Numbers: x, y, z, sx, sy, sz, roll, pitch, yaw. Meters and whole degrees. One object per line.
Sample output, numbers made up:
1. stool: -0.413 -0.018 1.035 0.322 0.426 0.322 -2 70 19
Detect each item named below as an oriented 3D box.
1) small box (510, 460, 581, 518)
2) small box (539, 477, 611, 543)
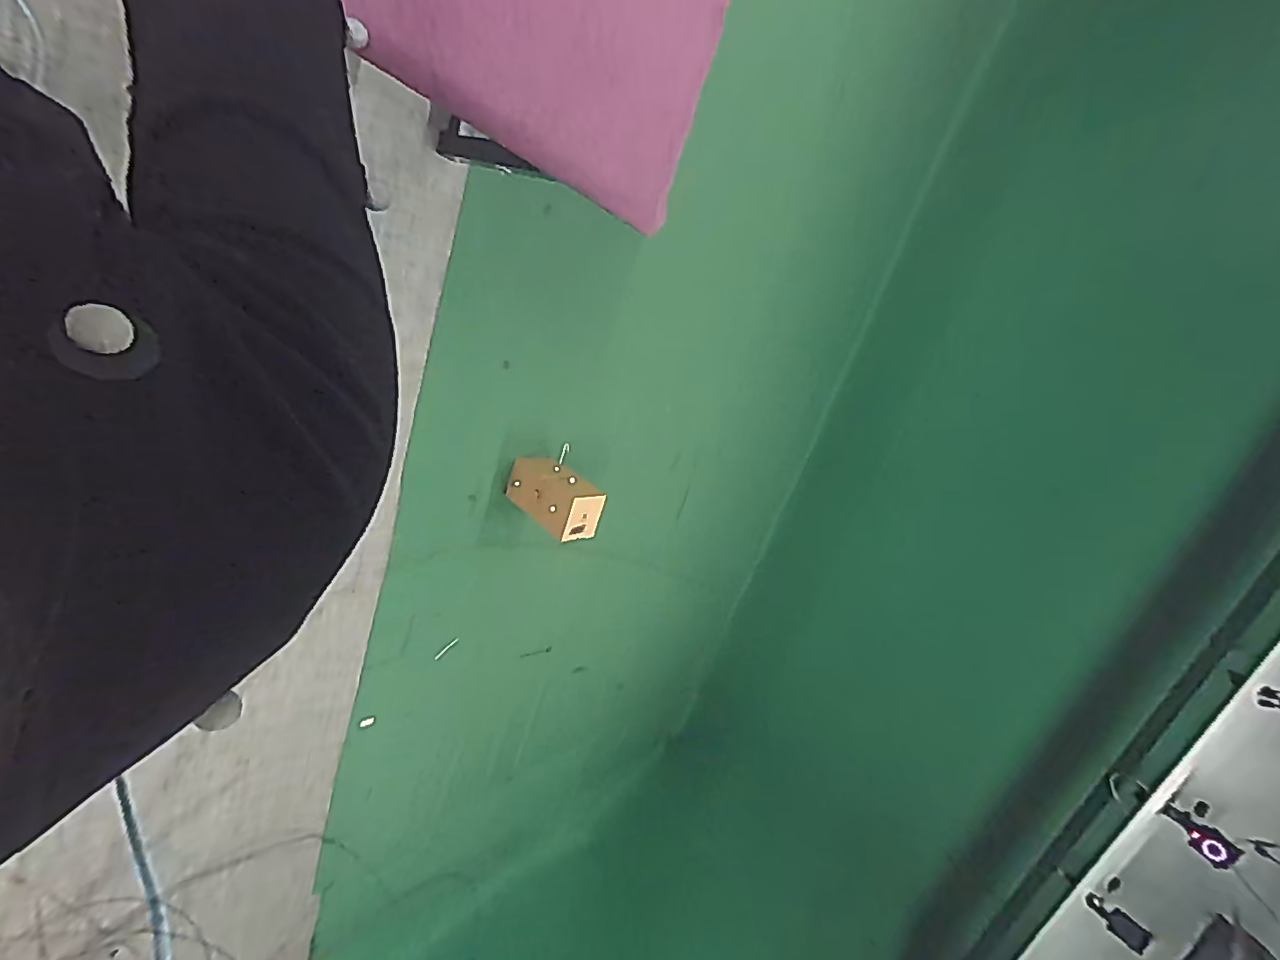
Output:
1. small box: -0.361 0.030 2.053 0.179 0.176 0.168 -2 117 -51
2. small box: -0.242 0.107 1.964 0.168 0.176 0.179 0 117 -54
